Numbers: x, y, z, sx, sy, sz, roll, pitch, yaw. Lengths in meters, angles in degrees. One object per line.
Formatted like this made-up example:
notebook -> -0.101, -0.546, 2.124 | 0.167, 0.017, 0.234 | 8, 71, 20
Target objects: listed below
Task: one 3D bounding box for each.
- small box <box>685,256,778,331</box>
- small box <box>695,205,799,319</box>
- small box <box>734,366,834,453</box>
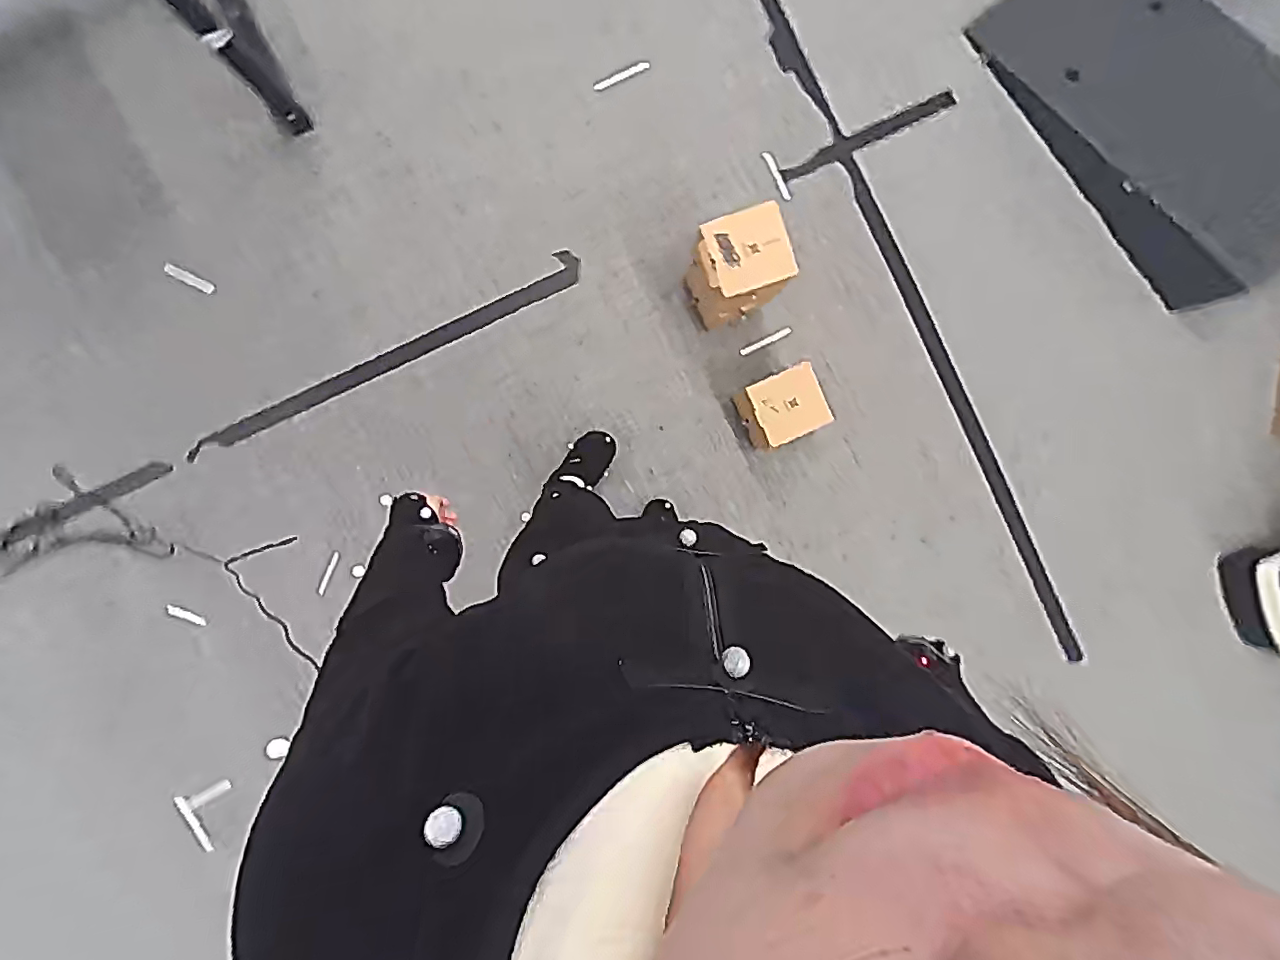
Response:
small box -> 0.230, -0.498, 1.394 | 0.168, 0.176, 0.179 | -24, 94, -1
small box -> 0.233, -0.484, 1.229 | 0.179, 0.176, 0.168 | -19, 94, -2
small box -> 0.369, -0.179, 1.414 | 0.179, 0.176, 0.168 | -24, 93, -1
